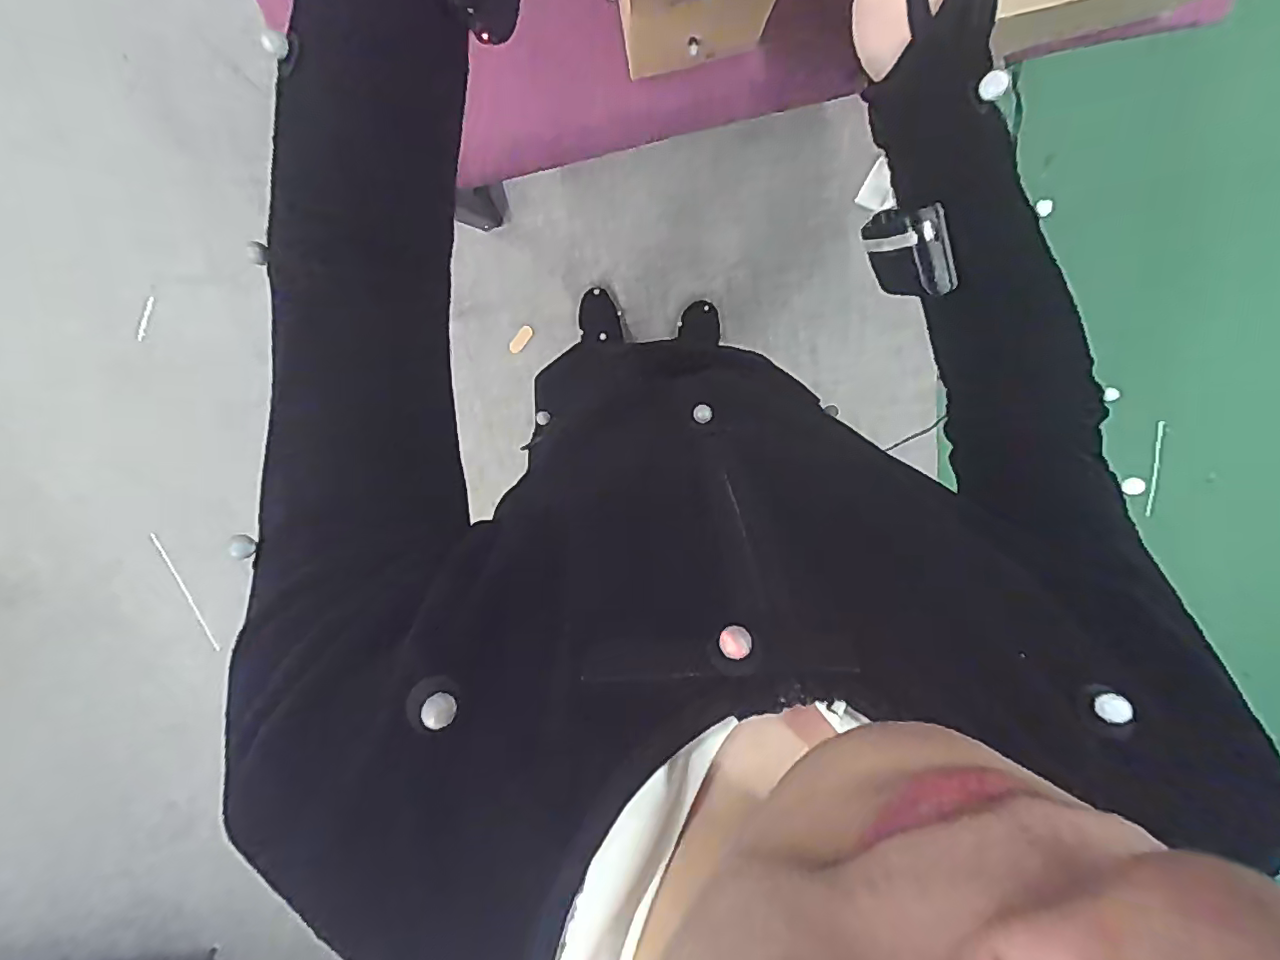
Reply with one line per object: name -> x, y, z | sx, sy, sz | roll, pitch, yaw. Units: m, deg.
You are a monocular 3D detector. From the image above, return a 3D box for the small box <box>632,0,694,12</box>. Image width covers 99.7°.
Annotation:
small box -> 0.050, -0.554, 0.457 | 0.168, 0.176, 0.179 | -10, 109, 4

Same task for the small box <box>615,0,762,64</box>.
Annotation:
small box -> 0.049, -0.608, 0.611 | 0.168, 0.176, 0.179 | -10, 109, 3
